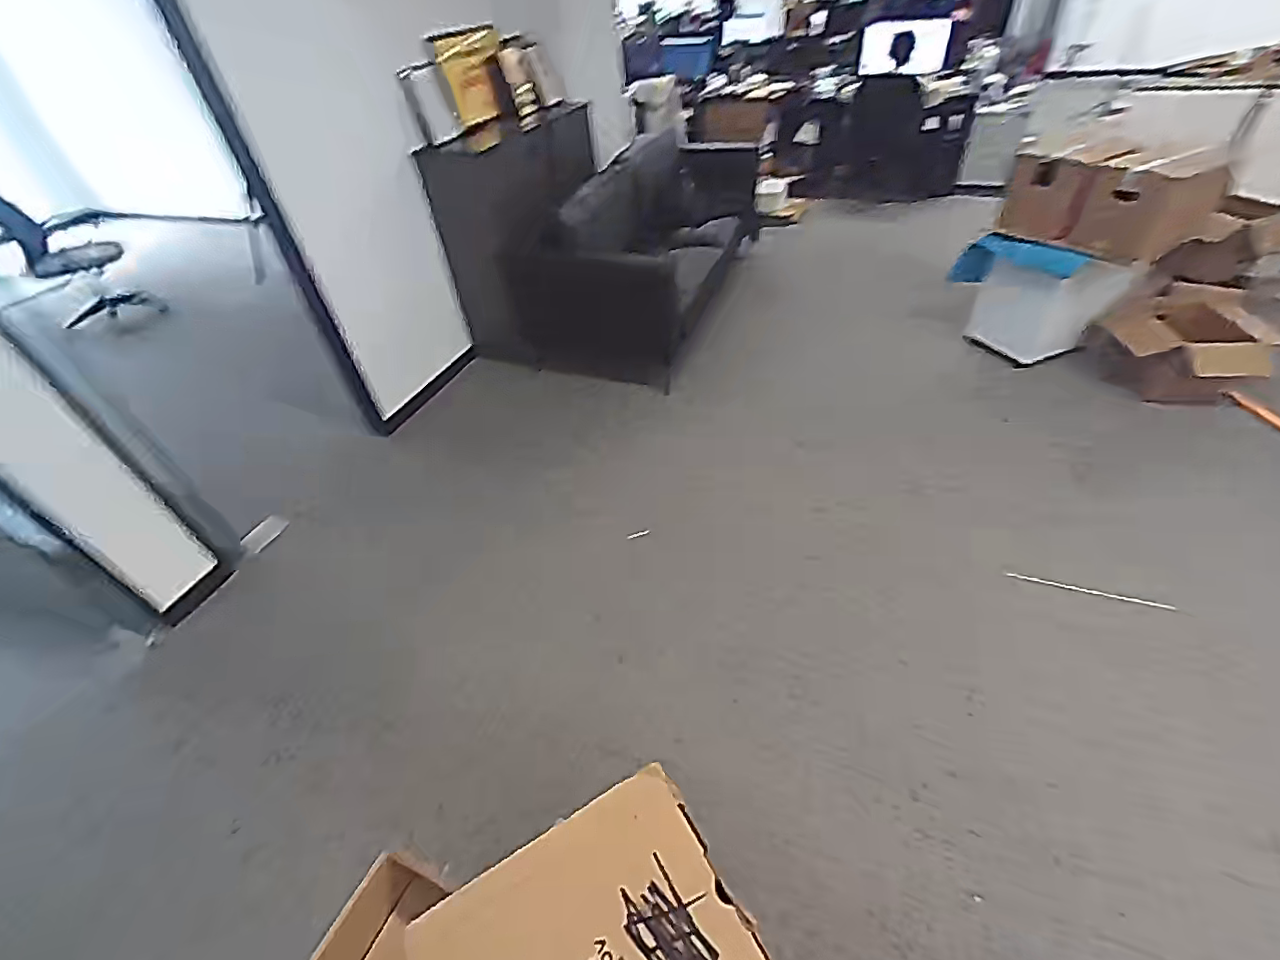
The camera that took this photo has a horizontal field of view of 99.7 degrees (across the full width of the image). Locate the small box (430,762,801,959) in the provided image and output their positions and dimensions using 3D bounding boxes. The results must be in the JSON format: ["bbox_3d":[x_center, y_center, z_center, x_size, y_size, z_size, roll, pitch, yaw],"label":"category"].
[{"bbox_3d":[-0.006,0.324,0.345,0.179,0.176,0.168,-23,49,-19],"label":"small box"}]
